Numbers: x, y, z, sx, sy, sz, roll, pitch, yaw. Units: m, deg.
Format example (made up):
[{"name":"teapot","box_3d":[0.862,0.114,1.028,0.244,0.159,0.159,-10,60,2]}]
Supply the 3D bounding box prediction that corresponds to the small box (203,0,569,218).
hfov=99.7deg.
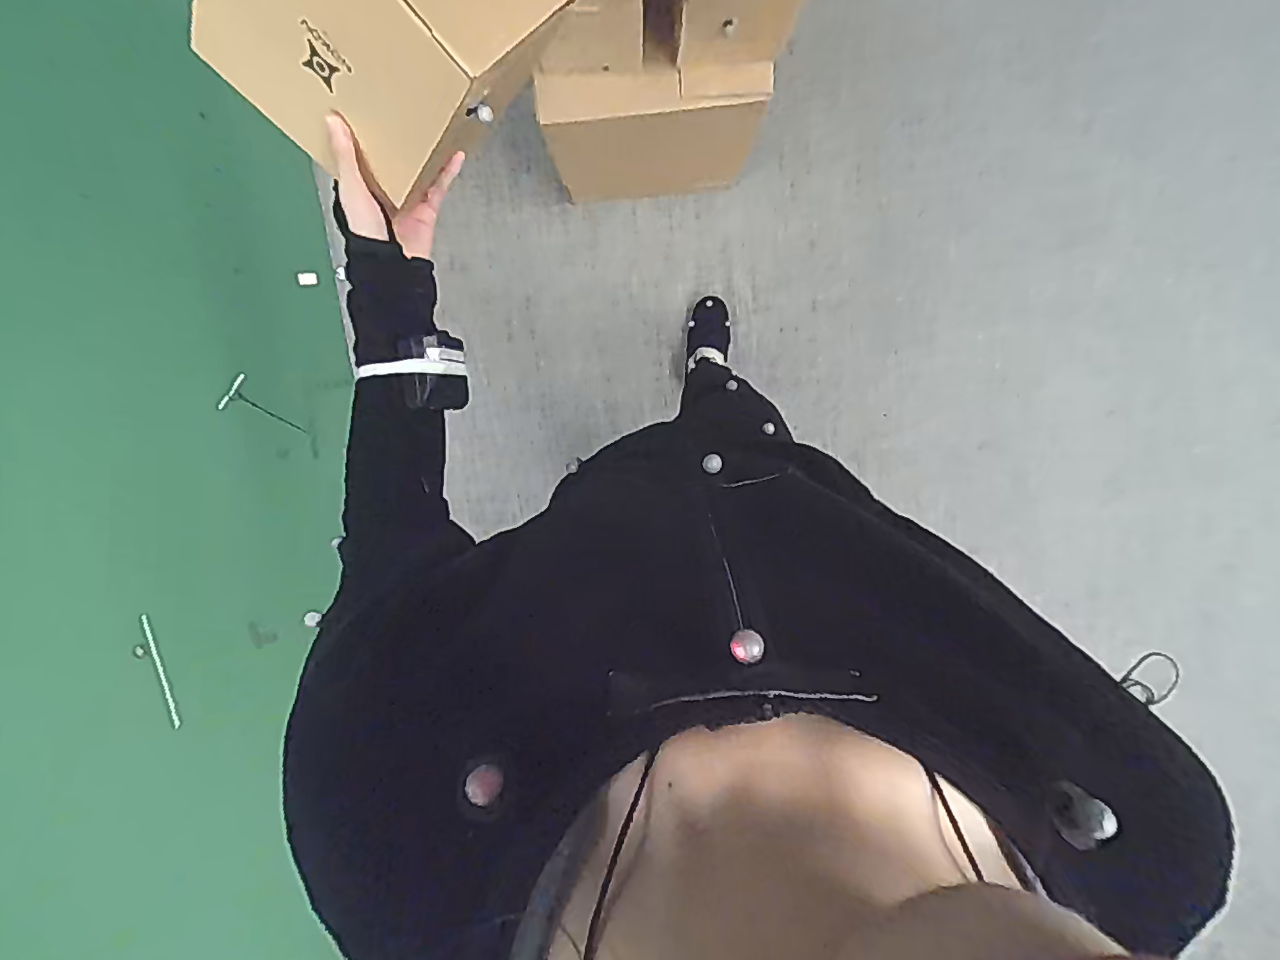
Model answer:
[{"name":"small box","box_3d":[-0.182,-0.350,0.410,0.168,0.179,0.176,41,56,-25]}]
